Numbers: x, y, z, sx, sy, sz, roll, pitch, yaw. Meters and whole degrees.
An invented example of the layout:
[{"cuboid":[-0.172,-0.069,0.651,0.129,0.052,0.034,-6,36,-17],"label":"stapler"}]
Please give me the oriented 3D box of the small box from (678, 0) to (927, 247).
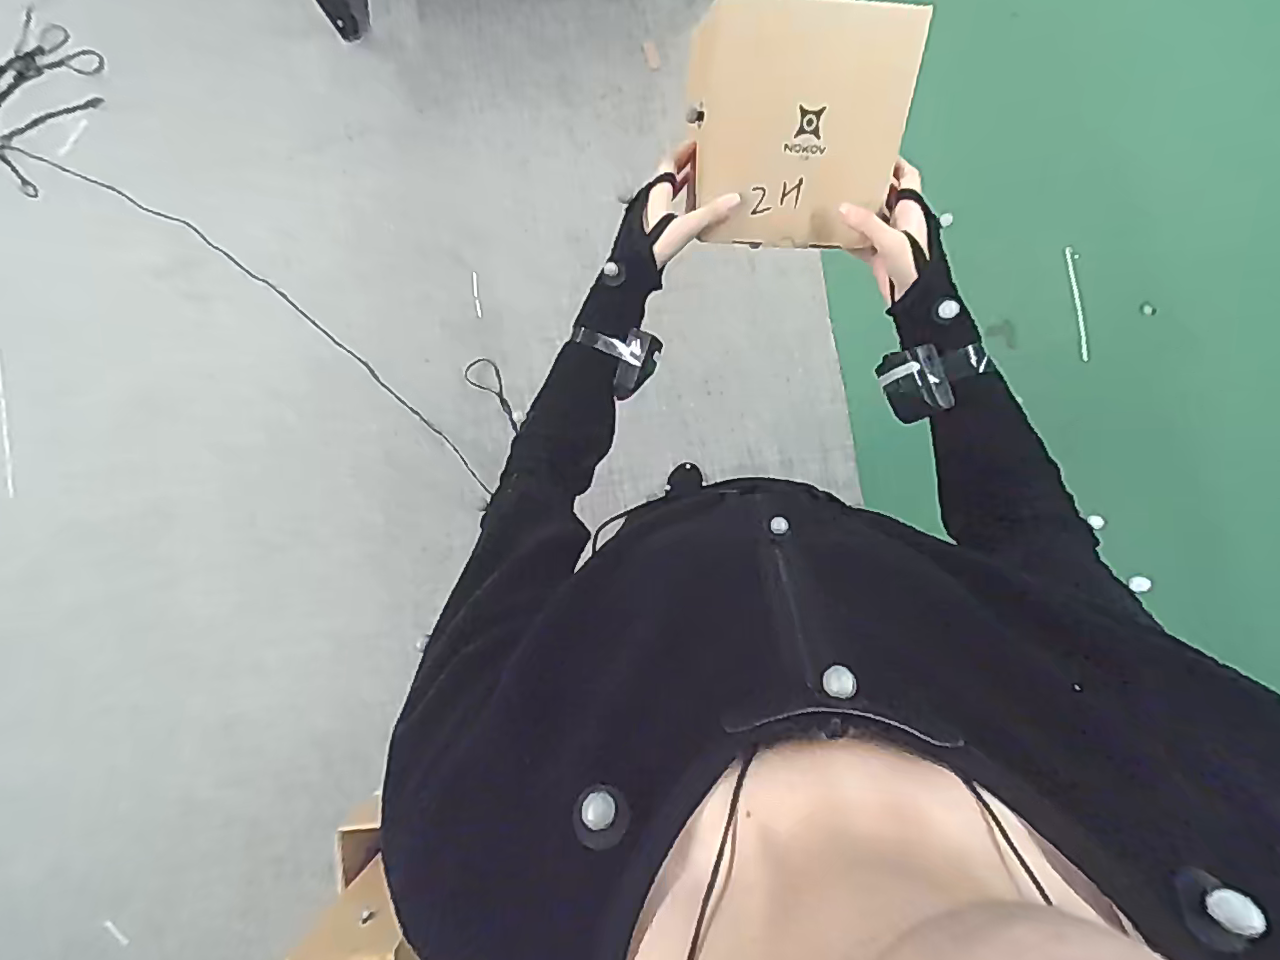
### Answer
[{"cuboid":[0.130,-0.331,0.516,0.168,0.176,0.179,2,121,-4],"label":"small box"}]
